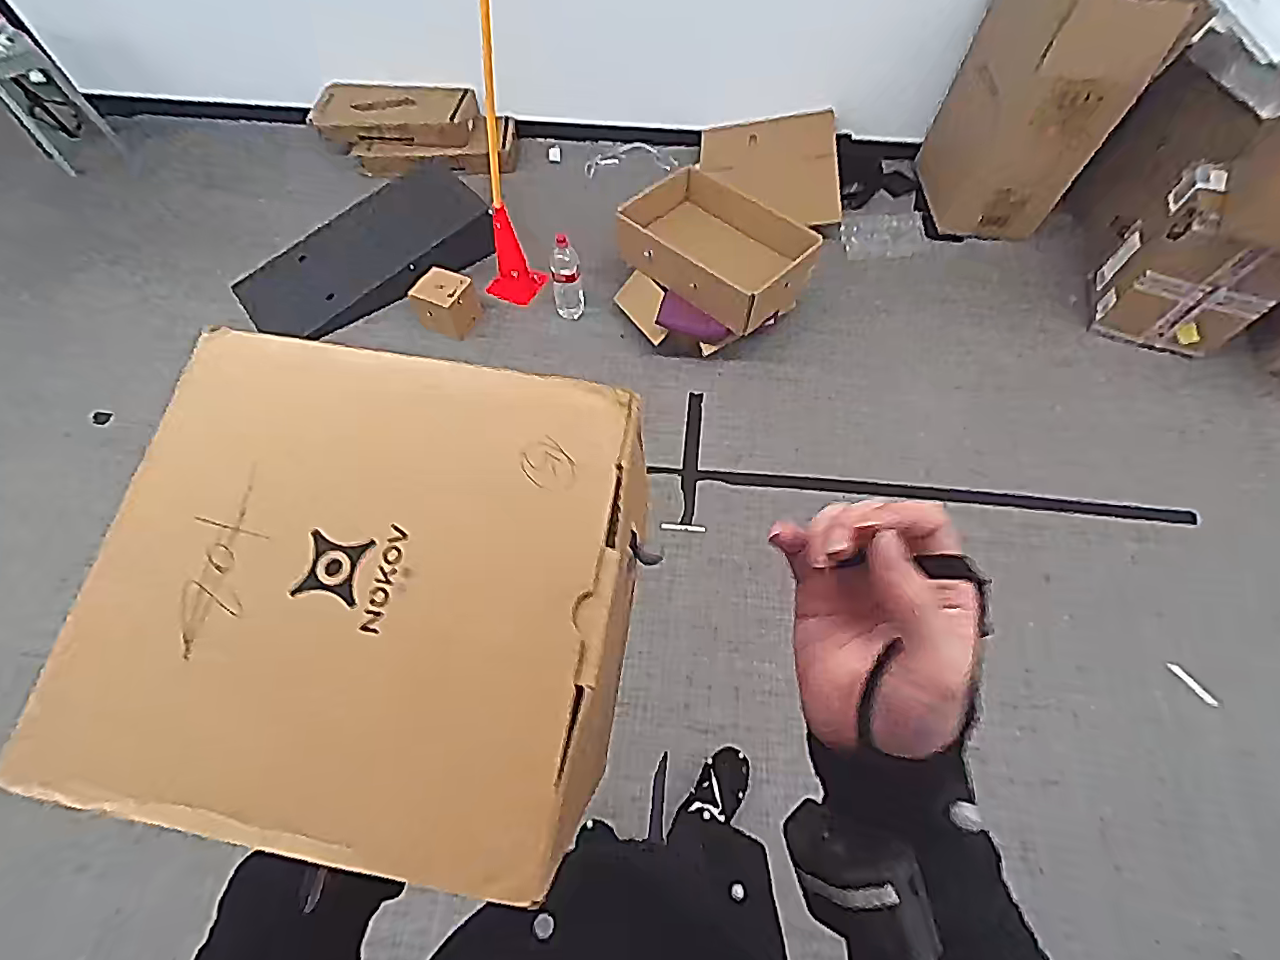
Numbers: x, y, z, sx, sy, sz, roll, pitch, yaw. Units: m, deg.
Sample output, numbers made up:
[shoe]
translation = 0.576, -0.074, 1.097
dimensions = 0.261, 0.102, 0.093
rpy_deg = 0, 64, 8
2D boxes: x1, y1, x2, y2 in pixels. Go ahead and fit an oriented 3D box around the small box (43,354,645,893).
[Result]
[small box]
translation = -0.096, 0.061, 0.270
dimensions = 0.179, 0.176, 0.168
rpy_deg = 9, 72, 6
